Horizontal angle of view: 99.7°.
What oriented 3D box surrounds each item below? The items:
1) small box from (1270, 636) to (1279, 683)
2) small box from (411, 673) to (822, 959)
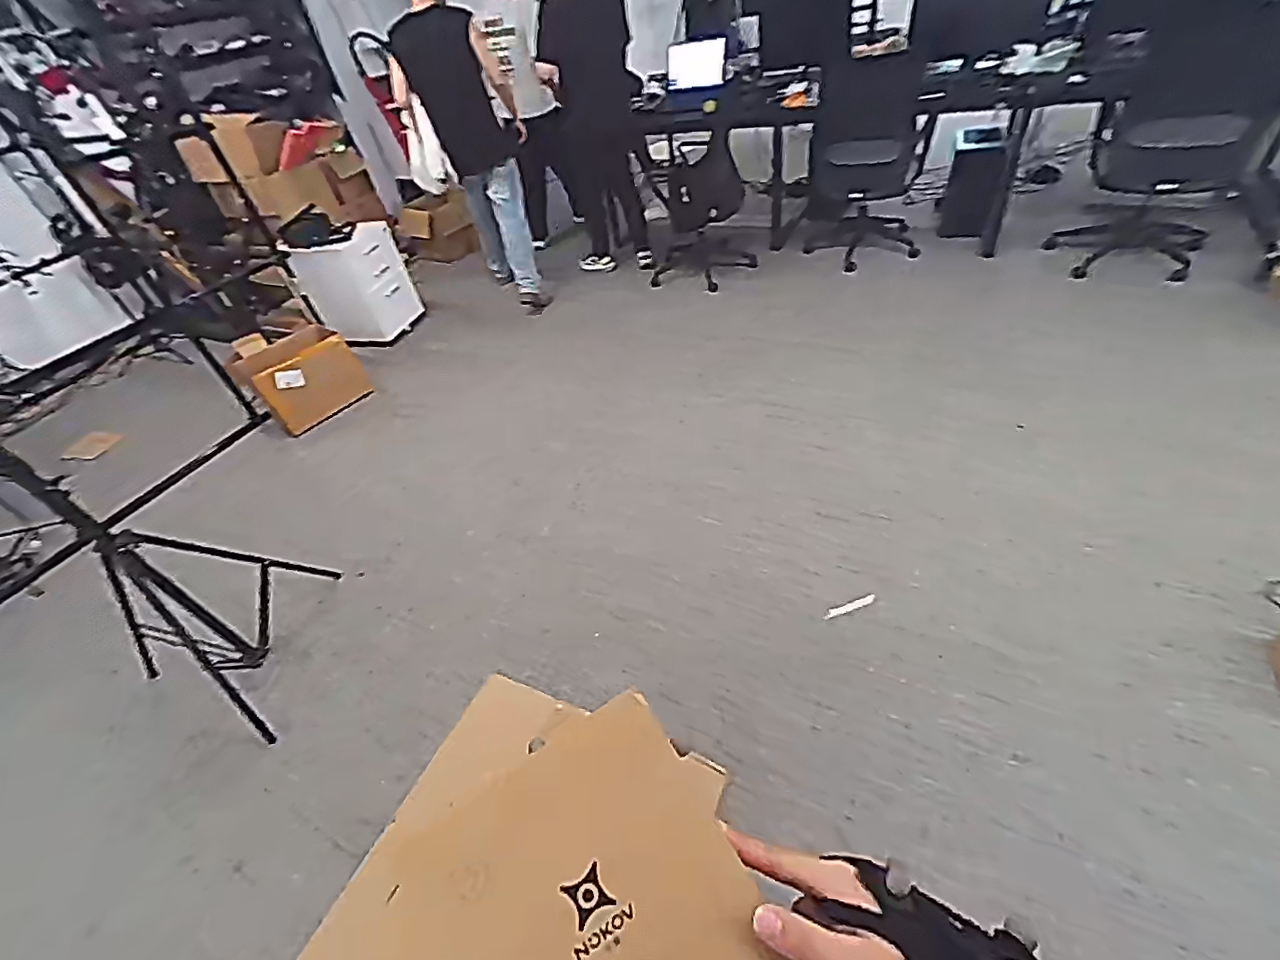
[{"bbox_3d":[1.525,0.406,1.158,0.168,0.176,0.179,12,48,25],"label":"small box"},{"bbox_3d":[-0.021,0.260,0.356,0.168,0.176,0.179,-27,66,-17],"label":"small box"}]
